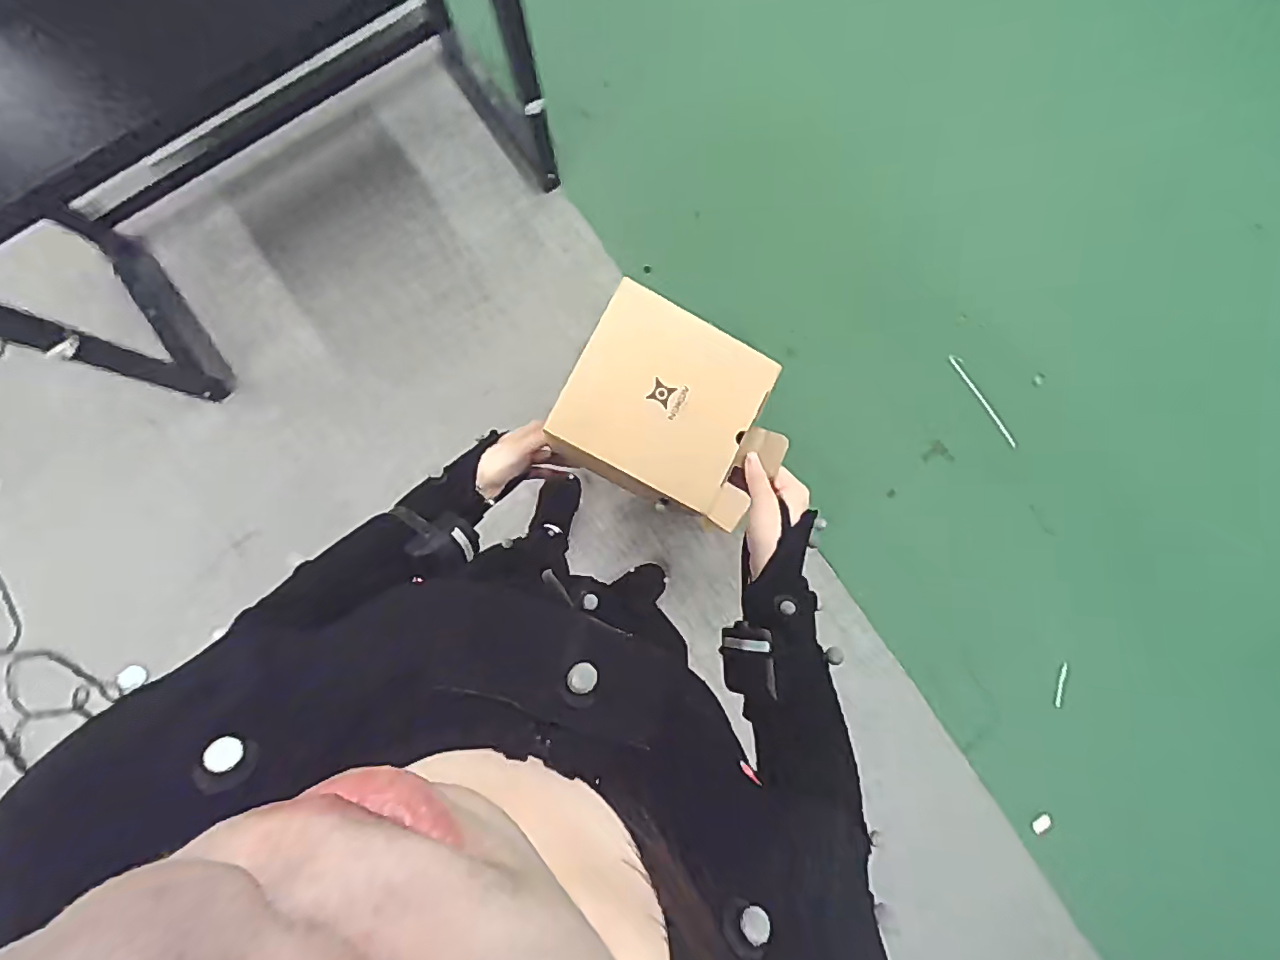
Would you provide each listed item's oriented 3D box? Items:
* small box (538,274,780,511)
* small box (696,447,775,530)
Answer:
[{"bbox_3d":[0.010,-0.075,0.570,0.179,0.176,0.168,27,85,-6],"label":"small box"},{"bbox_3d":[0.184,0.003,1.273,0.179,0.176,0.168,36,88,1],"label":"small box"}]
